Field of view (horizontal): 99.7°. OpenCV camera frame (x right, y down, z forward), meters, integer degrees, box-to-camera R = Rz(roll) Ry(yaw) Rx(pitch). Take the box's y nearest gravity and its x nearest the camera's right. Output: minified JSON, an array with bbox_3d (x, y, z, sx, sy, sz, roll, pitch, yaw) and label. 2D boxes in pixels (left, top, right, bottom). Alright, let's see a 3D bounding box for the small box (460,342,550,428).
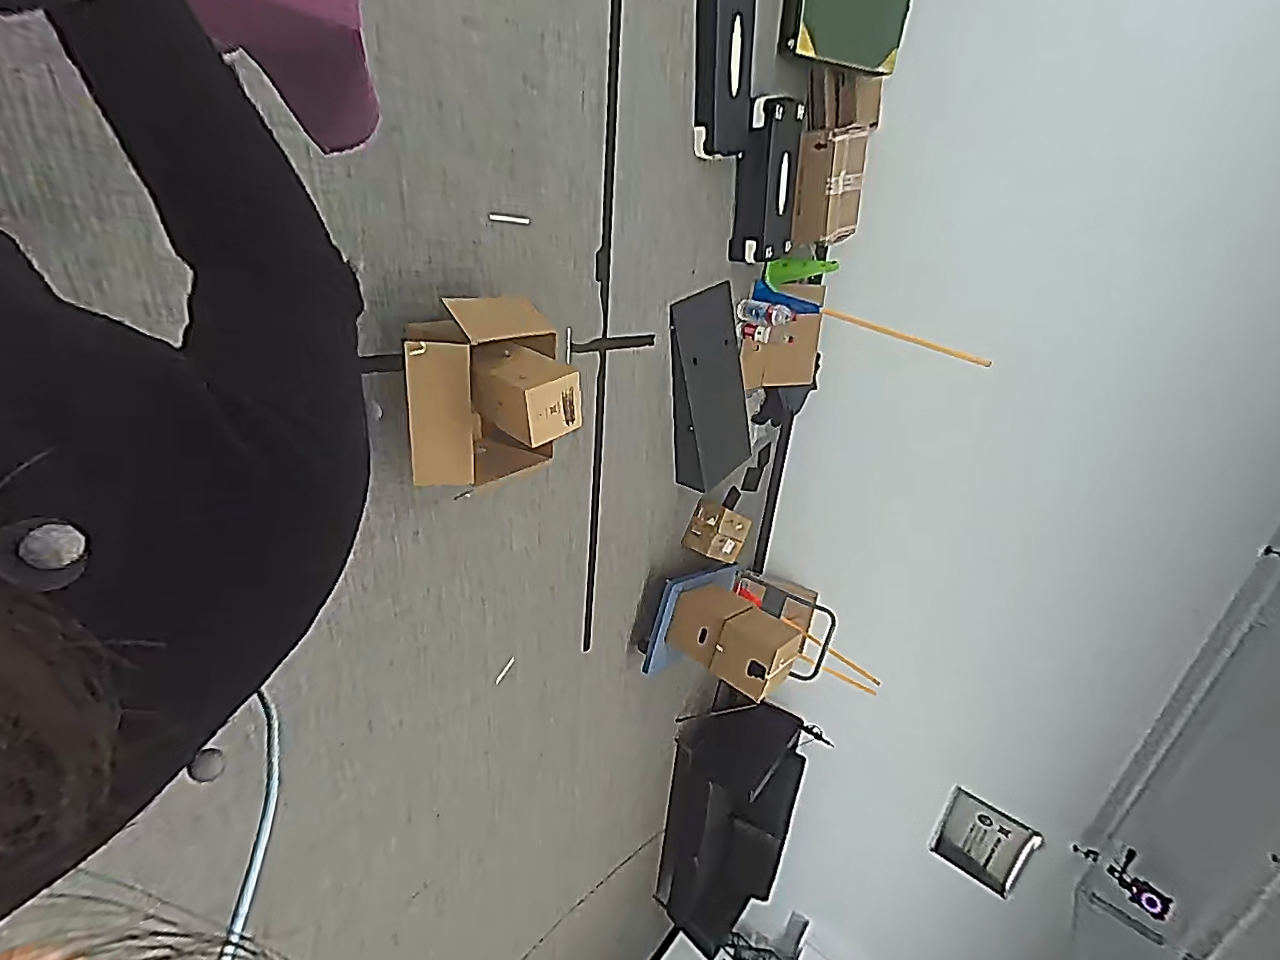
[{"bbox_3d":[-0.389,-0.282,1.559,0.168,0.176,0.179,-39,140,-30],"label":"small box"}]
